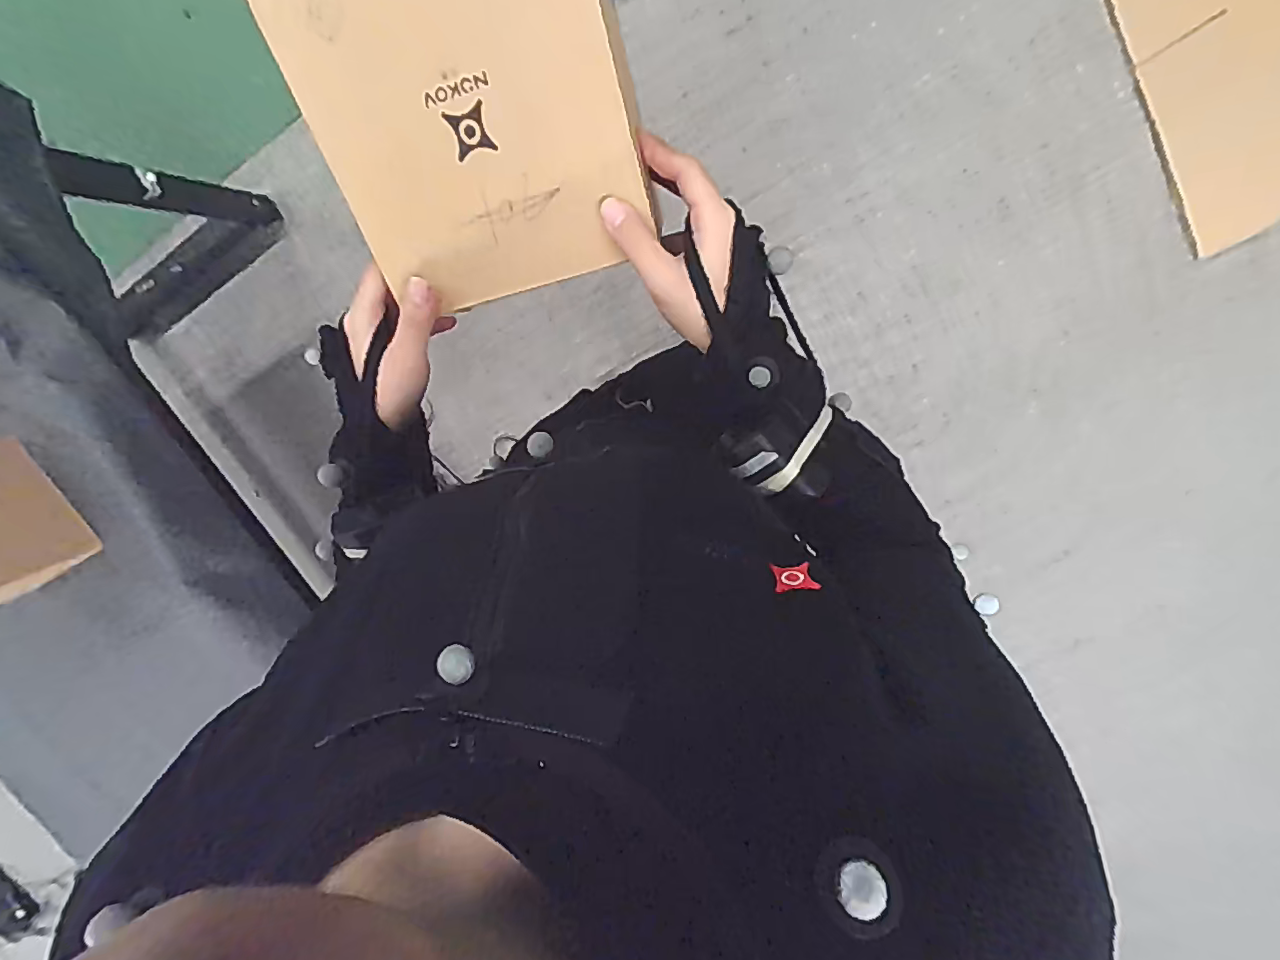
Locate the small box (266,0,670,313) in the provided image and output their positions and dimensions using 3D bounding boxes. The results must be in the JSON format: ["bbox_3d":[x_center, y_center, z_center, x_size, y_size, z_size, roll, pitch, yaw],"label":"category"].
[{"bbox_3d":[-0.080,-0.230,0.346,0.168,0.176,0.179,-11,121,11],"label":"small box"}]
